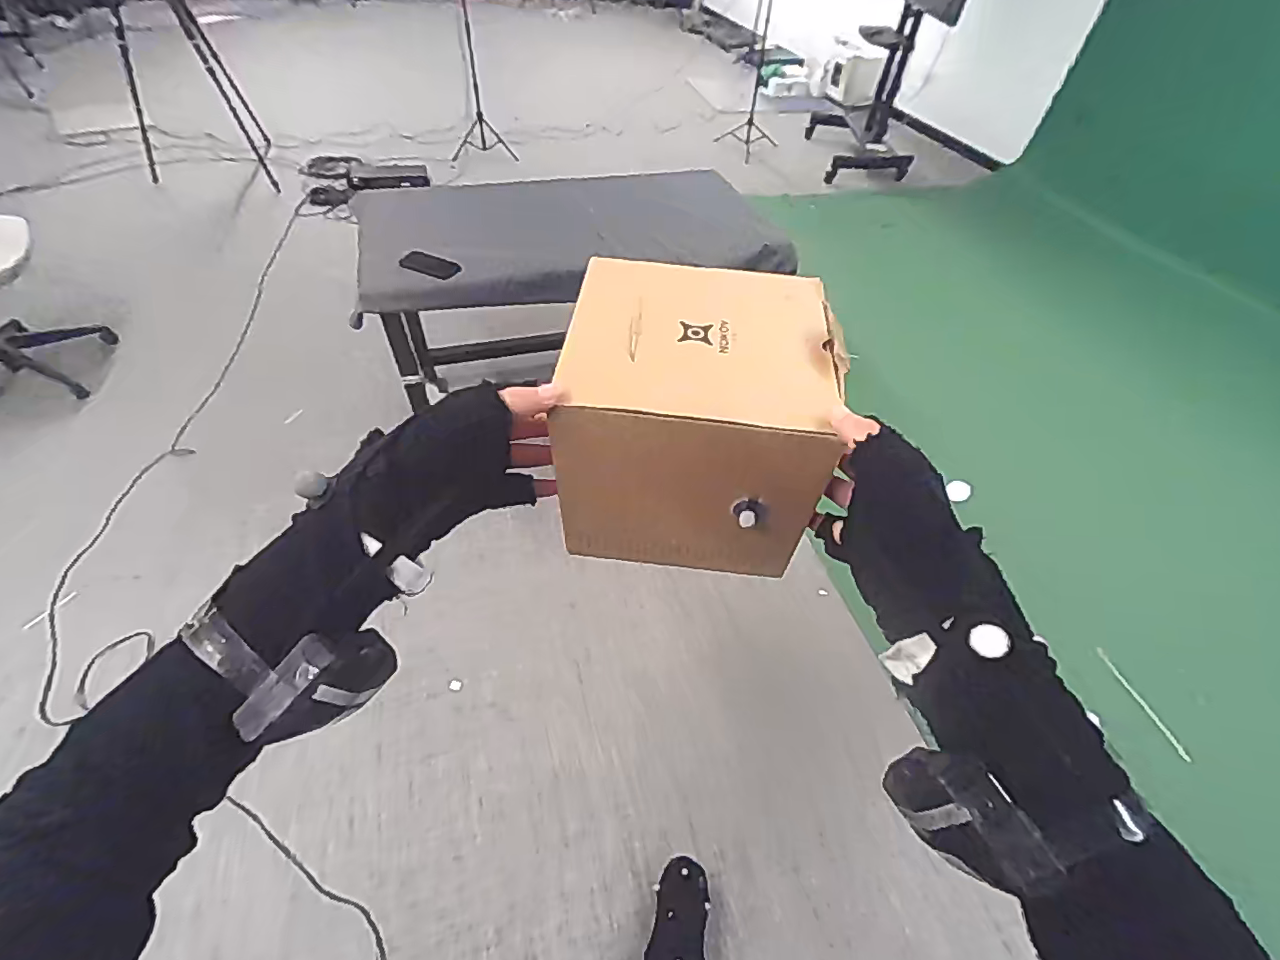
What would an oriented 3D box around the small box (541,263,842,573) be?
[{"bbox_3d":[0.035,-0.043,0.419,0.179,0.176,0.168,5,50,3],"label":"small box"}]
